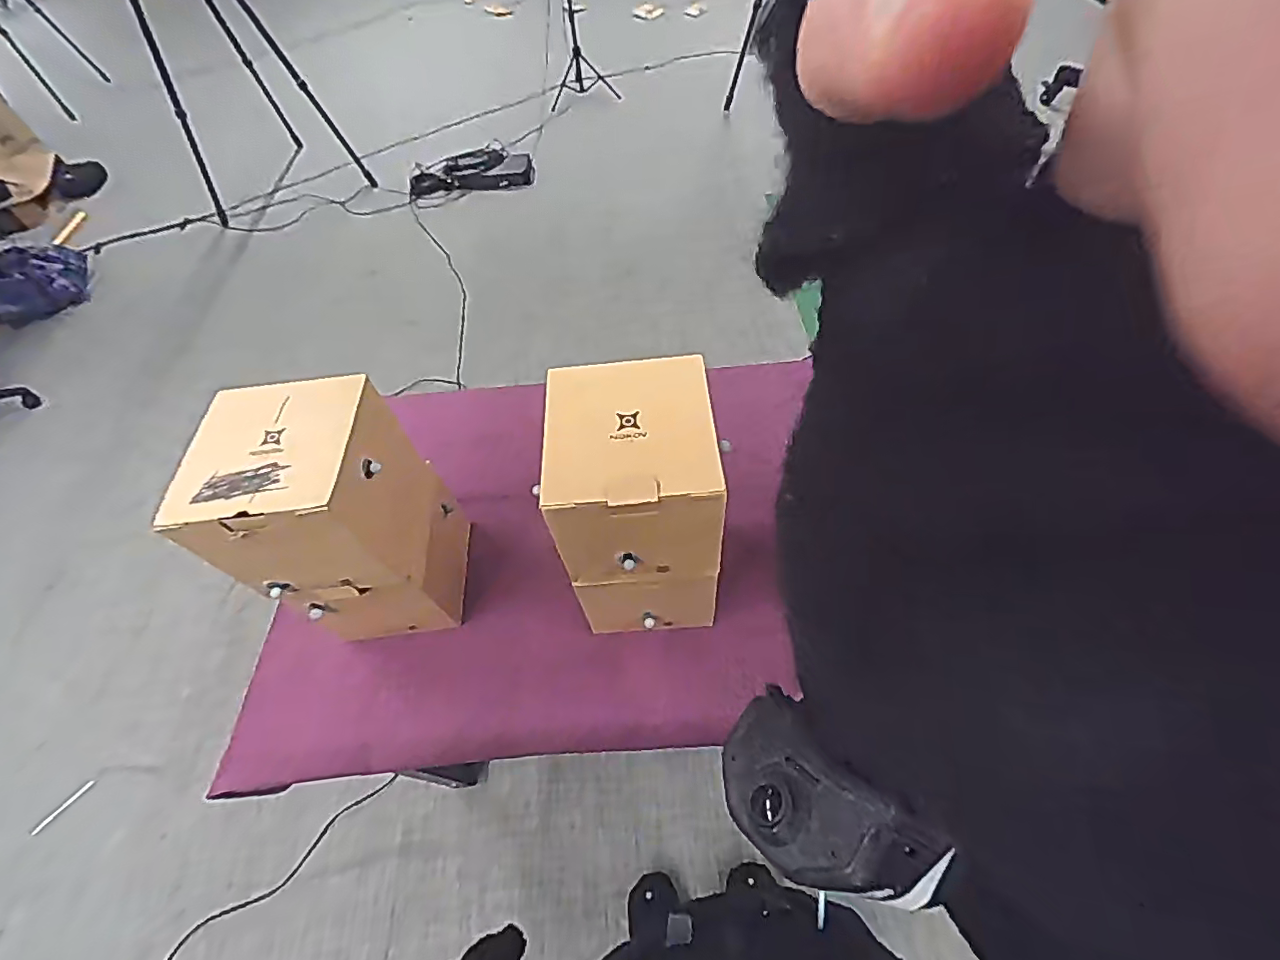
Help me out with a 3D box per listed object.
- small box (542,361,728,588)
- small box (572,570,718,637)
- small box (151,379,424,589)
[{"bbox_3d":[-0.003,-0.001,0.579,0.168,0.176,0.179,-5,56,2],"label":"small box"},{"bbox_3d":[0.009,0.091,0.712,0.168,0.176,0.179,-4,56,3],"label":"small box"},{"bbox_3d":[-0.358,0.013,0.596,0.168,0.176,0.179,-3,56,1],"label":"small box"}]
